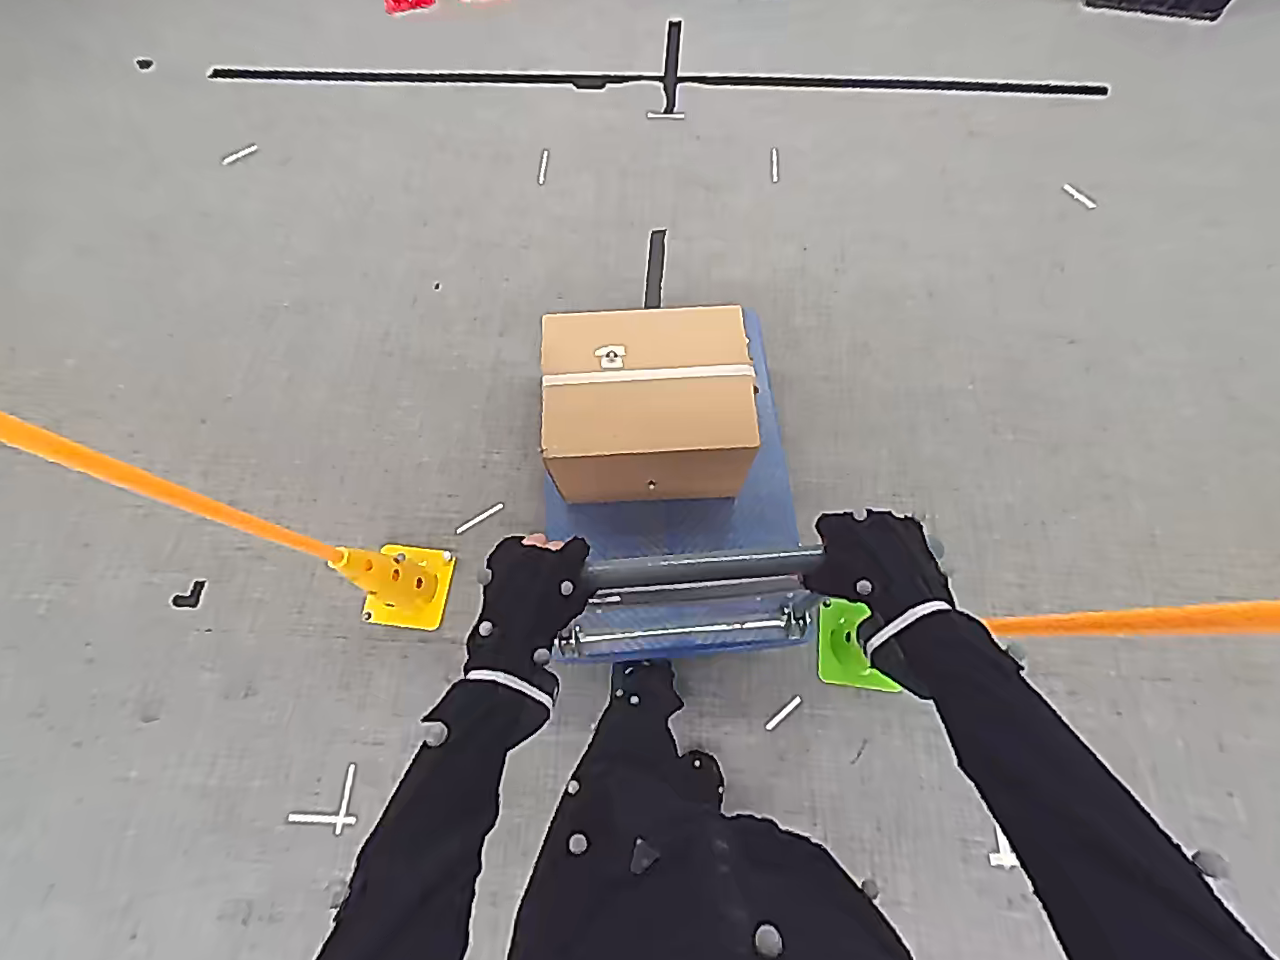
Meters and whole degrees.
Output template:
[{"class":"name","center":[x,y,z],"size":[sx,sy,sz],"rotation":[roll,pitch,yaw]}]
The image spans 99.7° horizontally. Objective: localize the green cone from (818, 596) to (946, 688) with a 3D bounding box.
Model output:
[{"class":"green cone","center":[0.536,0.334,1.159],"size":[0.202,0.368,0.200],"rotation":[7,70,2]}]

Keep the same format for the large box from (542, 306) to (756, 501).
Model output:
[{"class":"large box","center":[0.015,-0.149,1.190],"size":[0.408,0.320,0.320],"rotation":[-3,71,1]}]
